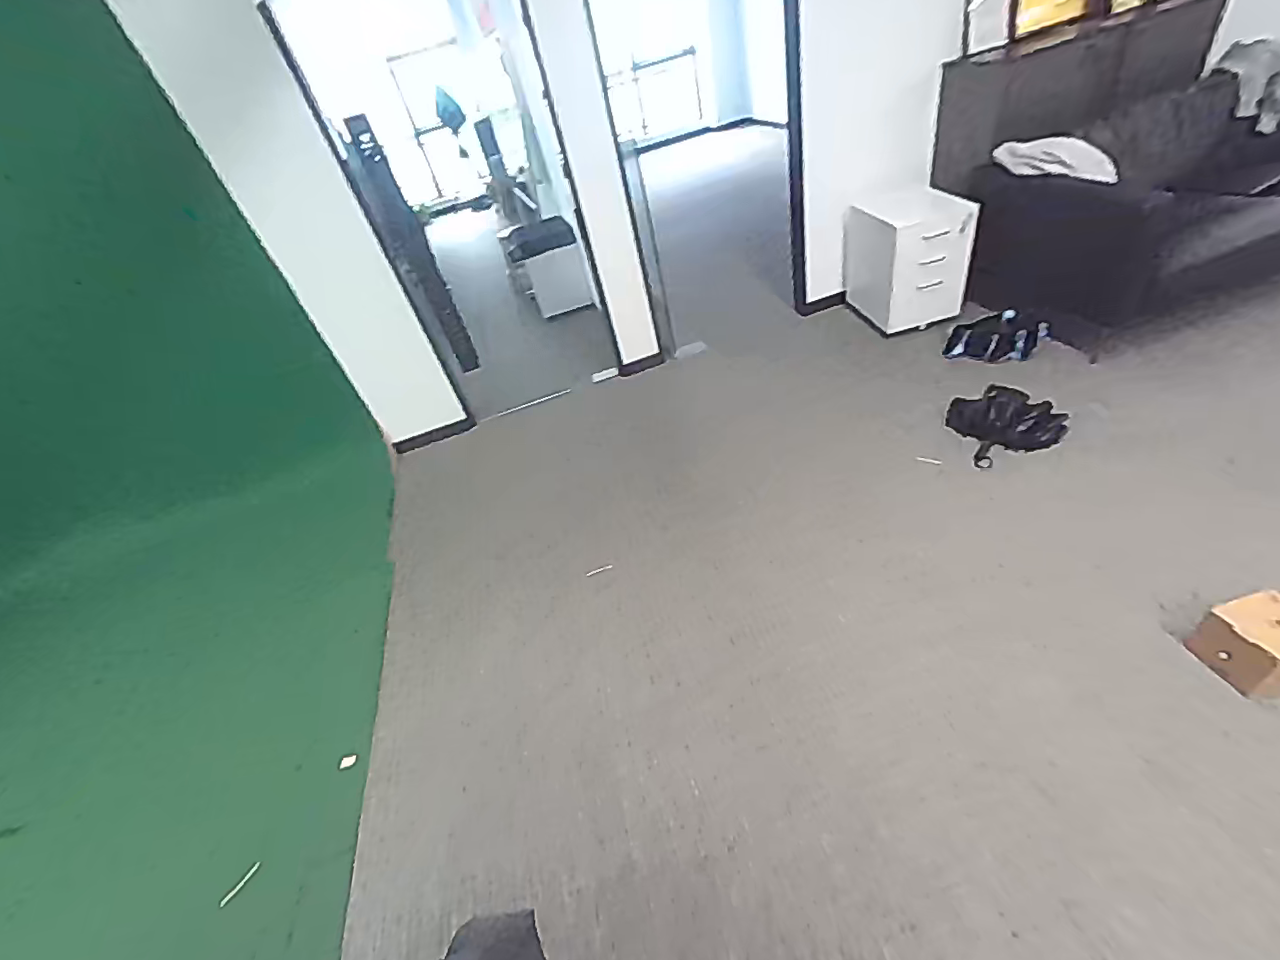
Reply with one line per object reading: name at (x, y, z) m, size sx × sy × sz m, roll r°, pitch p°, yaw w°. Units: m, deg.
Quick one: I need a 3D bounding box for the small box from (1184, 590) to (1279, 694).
small box at (1.563, 0.418, 1.384) m, size 0.179 × 0.176 × 0.168 m, roll -18°, pitch 38°, yaw -2°
